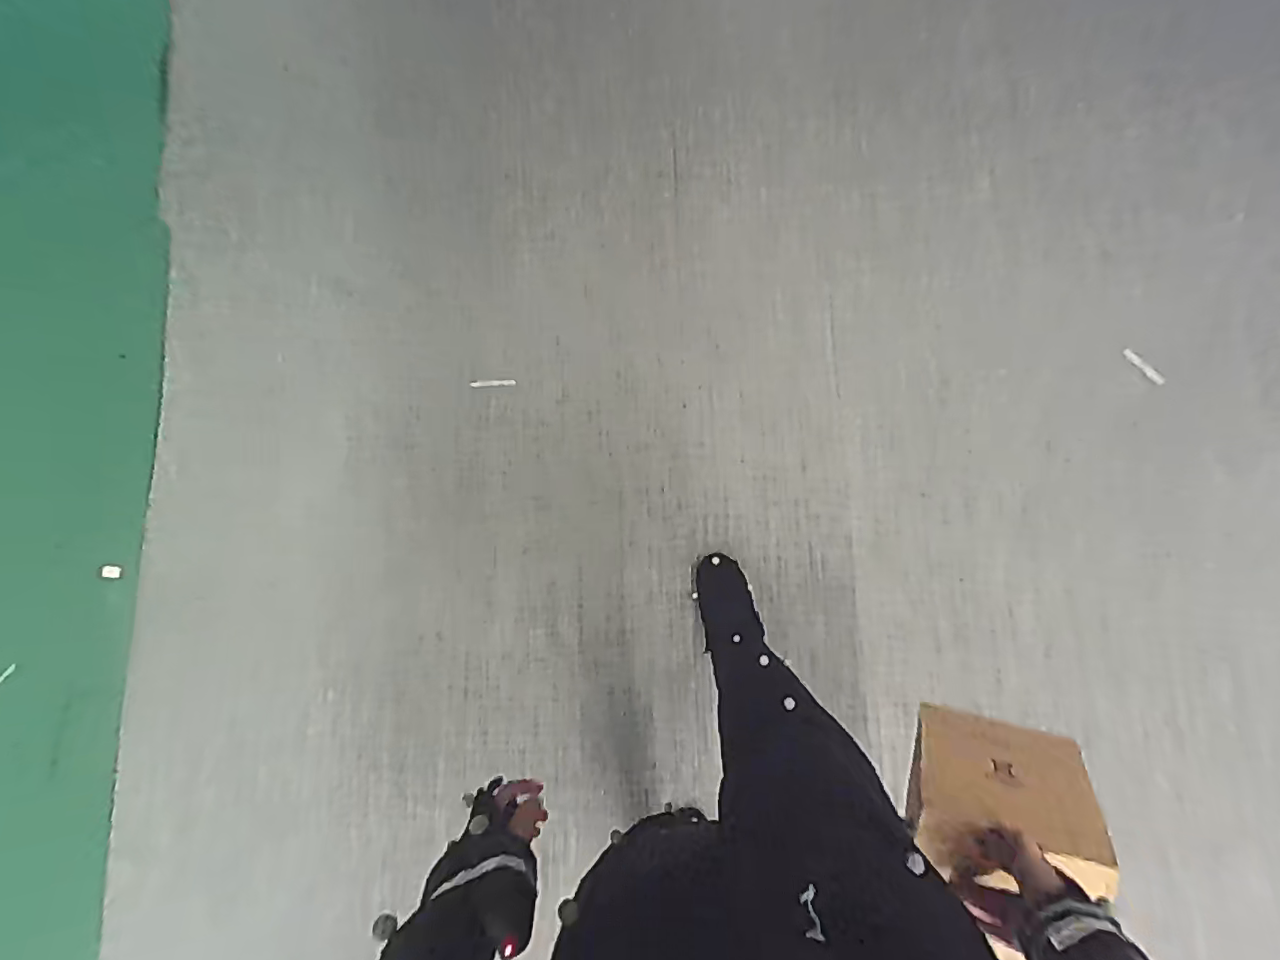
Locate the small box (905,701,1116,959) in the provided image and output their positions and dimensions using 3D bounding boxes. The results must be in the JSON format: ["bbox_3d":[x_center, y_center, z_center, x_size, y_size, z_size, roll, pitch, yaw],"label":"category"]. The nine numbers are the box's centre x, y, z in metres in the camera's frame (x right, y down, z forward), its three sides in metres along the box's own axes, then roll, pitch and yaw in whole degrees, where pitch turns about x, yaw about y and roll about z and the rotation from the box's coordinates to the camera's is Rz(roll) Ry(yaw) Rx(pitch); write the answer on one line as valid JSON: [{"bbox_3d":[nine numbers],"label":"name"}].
[{"bbox_3d":[0.401,0.394,0.614,0.168,0.179,0.176,6,108,27],"label":"small box"}]
